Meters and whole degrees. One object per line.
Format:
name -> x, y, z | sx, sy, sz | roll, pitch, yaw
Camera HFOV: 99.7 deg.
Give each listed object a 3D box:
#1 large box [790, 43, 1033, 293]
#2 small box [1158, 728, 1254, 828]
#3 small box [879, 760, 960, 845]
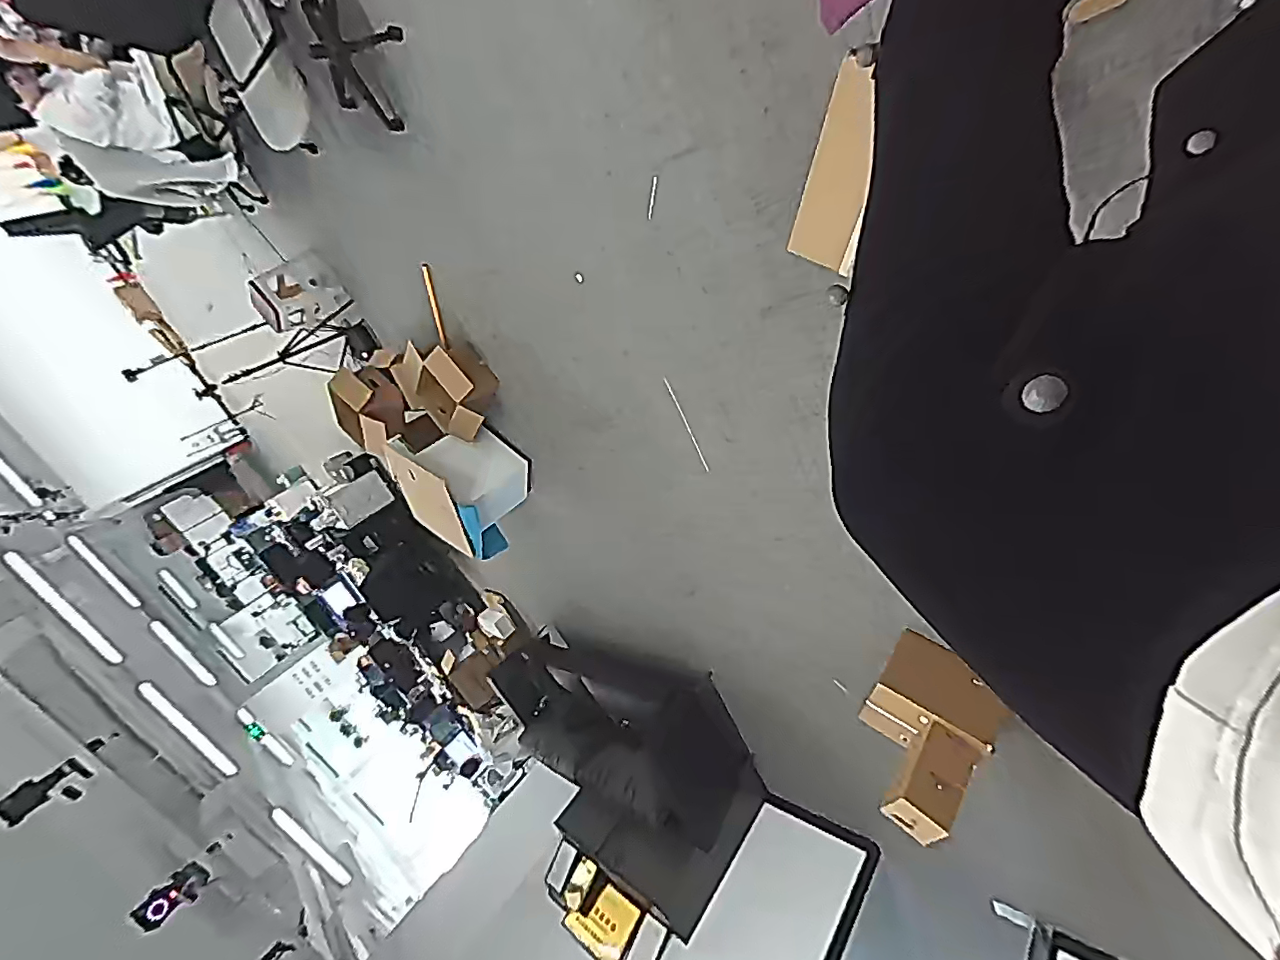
large box -> 0.599, -0.714, 1.240 | 0.320, 0.320, 0.408 | 32, 141, 21
small box -> 1.673, 0.868, 1.596 | 0.179, 0.176, 0.168 | -8, 116, 51
small box -> 0.964, 1.106, 1.861 | 0.168, 0.176, 0.179 | 35, 141, 21
